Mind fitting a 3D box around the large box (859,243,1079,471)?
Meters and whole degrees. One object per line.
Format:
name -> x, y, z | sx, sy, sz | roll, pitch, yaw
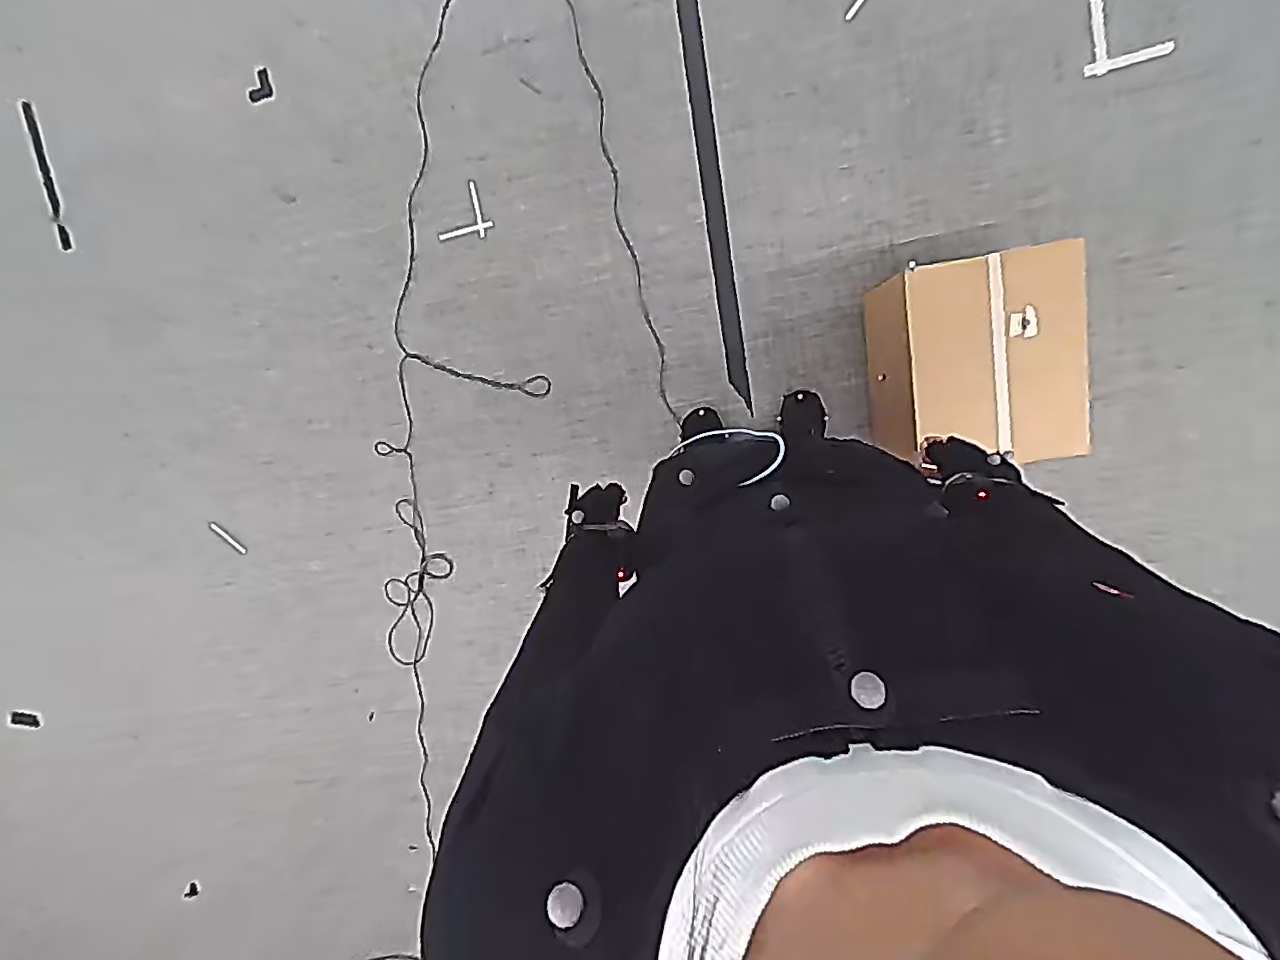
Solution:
large box -> 0.702, -0.253, 1.205 | 0.320, 0.320, 0.408 | -8, 97, 7
